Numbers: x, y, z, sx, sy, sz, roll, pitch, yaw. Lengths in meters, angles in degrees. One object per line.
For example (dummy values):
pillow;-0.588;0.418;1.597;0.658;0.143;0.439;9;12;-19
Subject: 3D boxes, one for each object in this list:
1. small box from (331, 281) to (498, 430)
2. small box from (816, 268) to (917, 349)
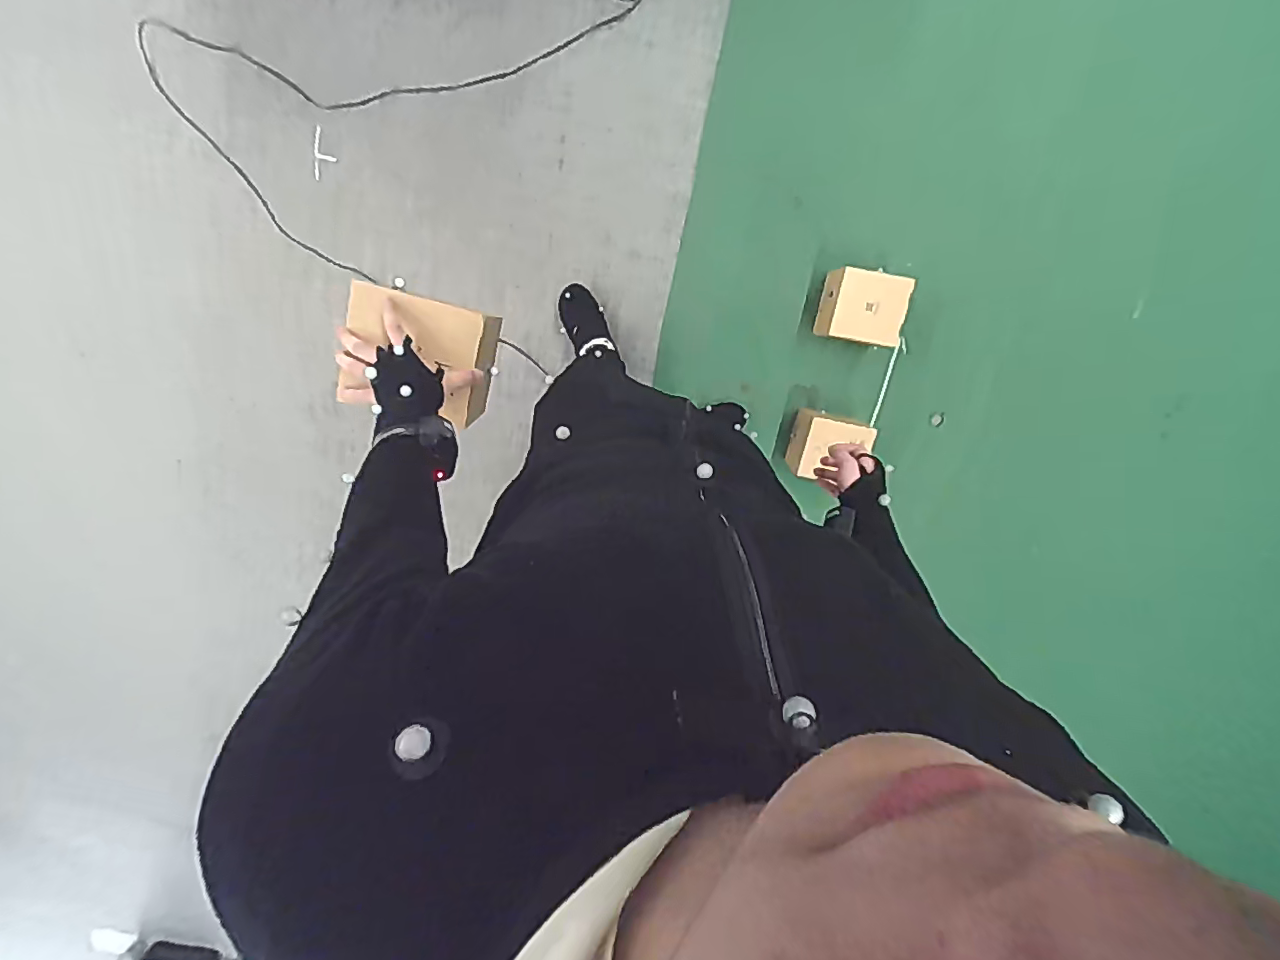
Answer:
small box;-0.327;-0.185;0.812;0.179;0.176;0.168;13;104;-9
small box;0.576;-0.440;1.403;0.179;0.176;0.168;10;106;-1
